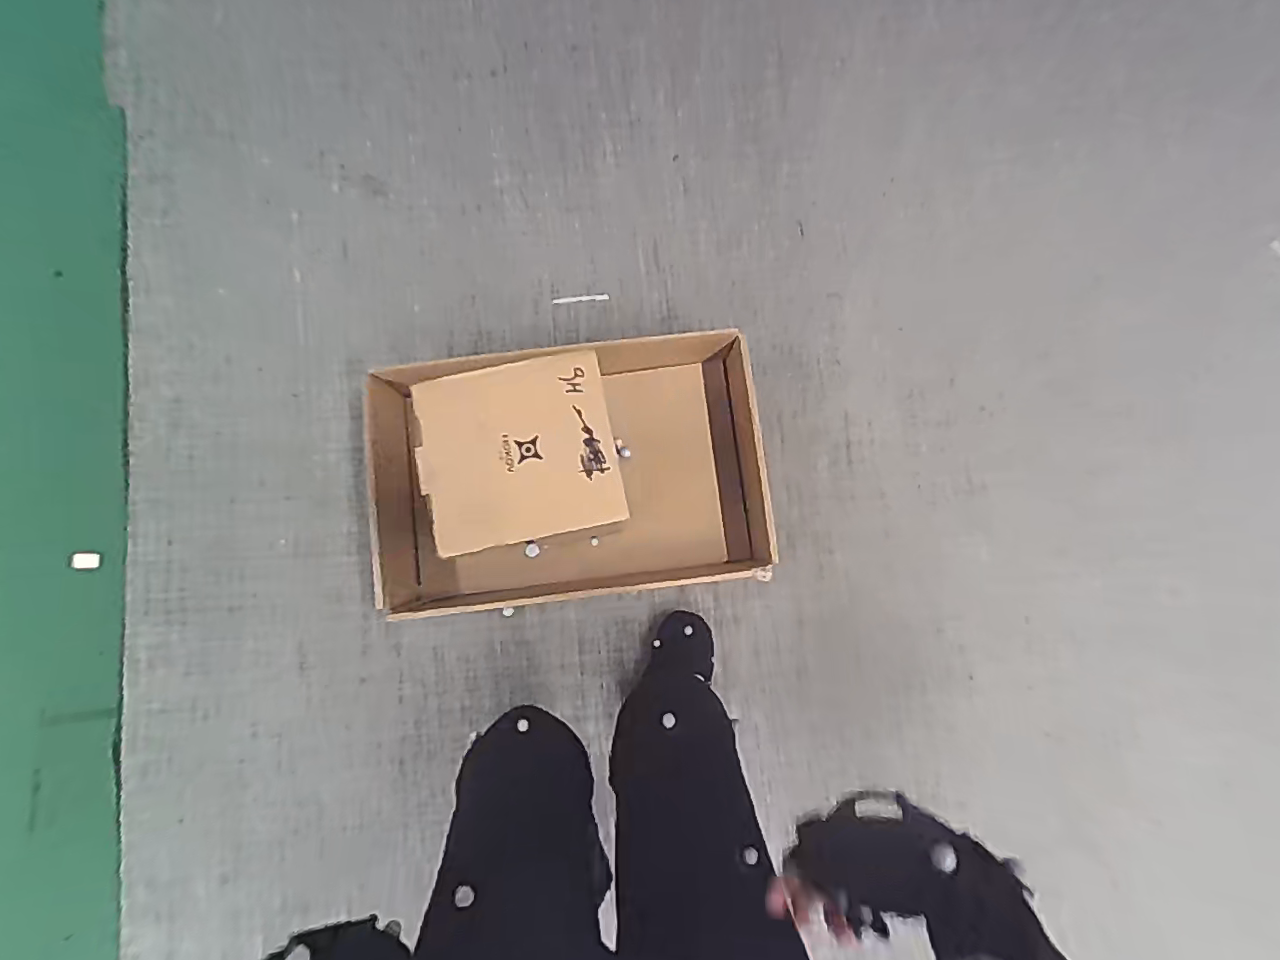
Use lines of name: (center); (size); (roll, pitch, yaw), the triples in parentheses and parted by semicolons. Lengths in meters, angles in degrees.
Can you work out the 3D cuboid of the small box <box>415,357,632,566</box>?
small box: (-0.110, -0.007, 0.578); (0.179, 0.176, 0.168); (-14, 81, -3)
